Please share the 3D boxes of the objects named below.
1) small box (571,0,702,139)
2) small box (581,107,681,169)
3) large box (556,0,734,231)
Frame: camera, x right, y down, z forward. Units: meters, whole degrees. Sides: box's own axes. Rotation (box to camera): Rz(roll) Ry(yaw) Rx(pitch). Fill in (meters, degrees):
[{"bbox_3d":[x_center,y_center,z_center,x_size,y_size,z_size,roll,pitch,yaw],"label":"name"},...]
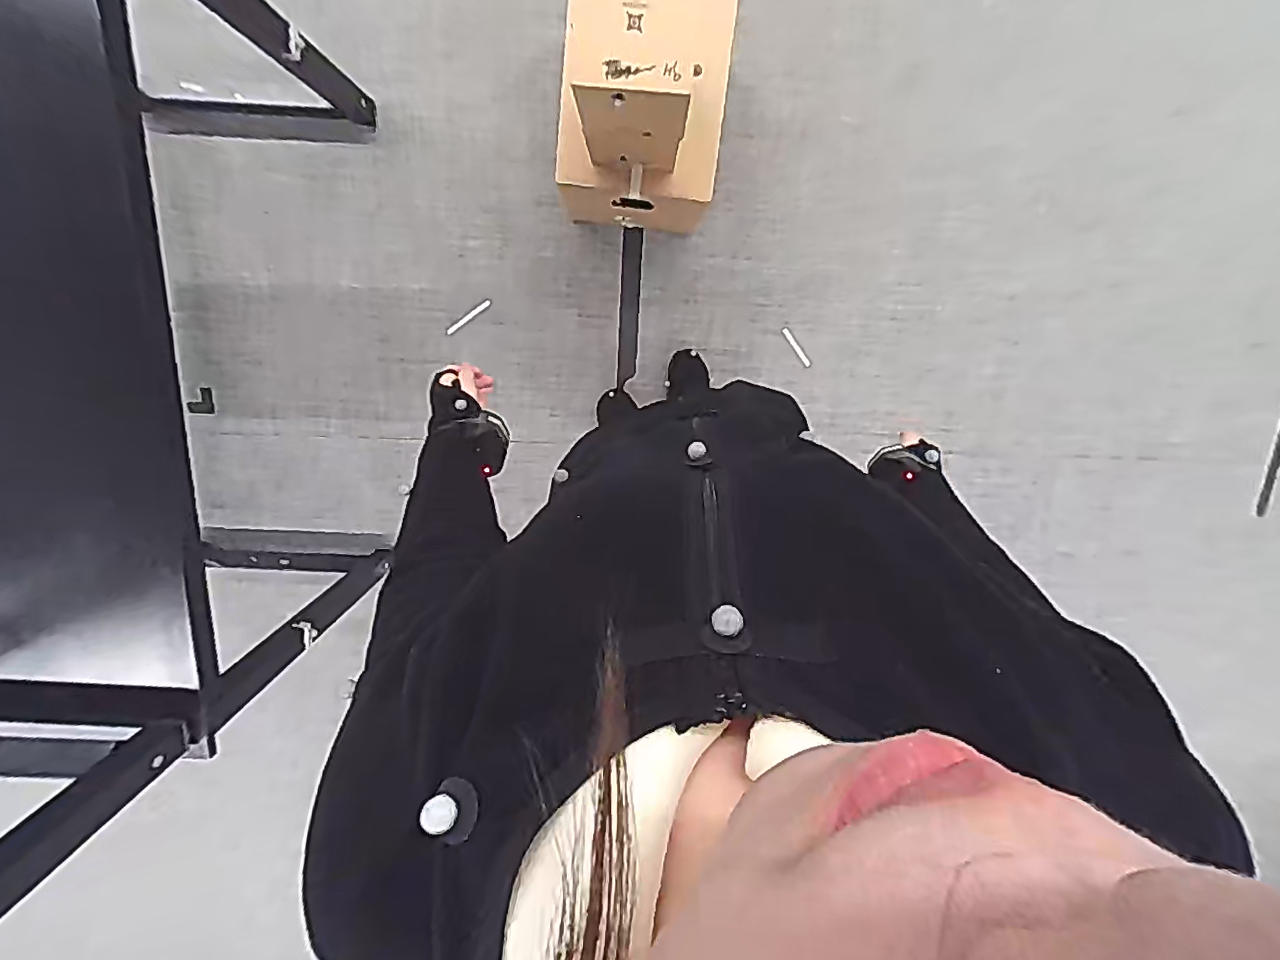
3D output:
[{"bbox_3d":[-0.003,-0.627,0.777,0.168,0.176,0.179,5,102,0],"label":"small box"},{"bbox_3d":[-0.006,-0.669,0.935,0.168,0.176,0.179,6,104,-1],"label":"small box"},{"bbox_3d":[0.004,-0.790,1.158,0.320,0.320,0.408,6,103,-4],"label":"large box"}]
